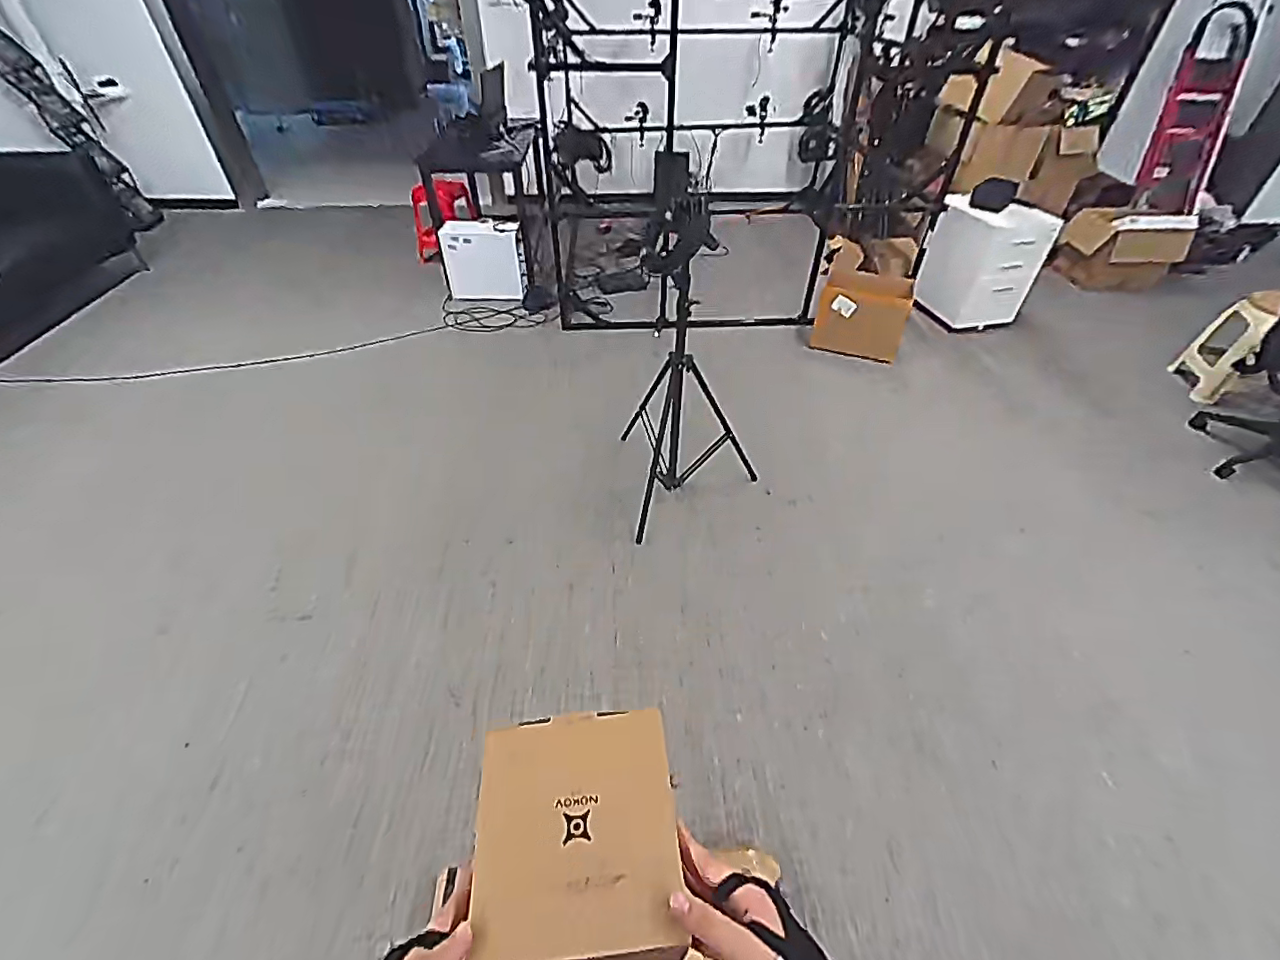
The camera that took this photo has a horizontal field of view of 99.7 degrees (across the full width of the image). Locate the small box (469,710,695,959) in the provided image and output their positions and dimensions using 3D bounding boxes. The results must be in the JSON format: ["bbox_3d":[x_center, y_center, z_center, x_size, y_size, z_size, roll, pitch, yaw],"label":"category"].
[{"bbox_3d":[-0.049,0.341,0.502,0.168,0.176,0.179,-5,45,-4],"label":"small box"}]
